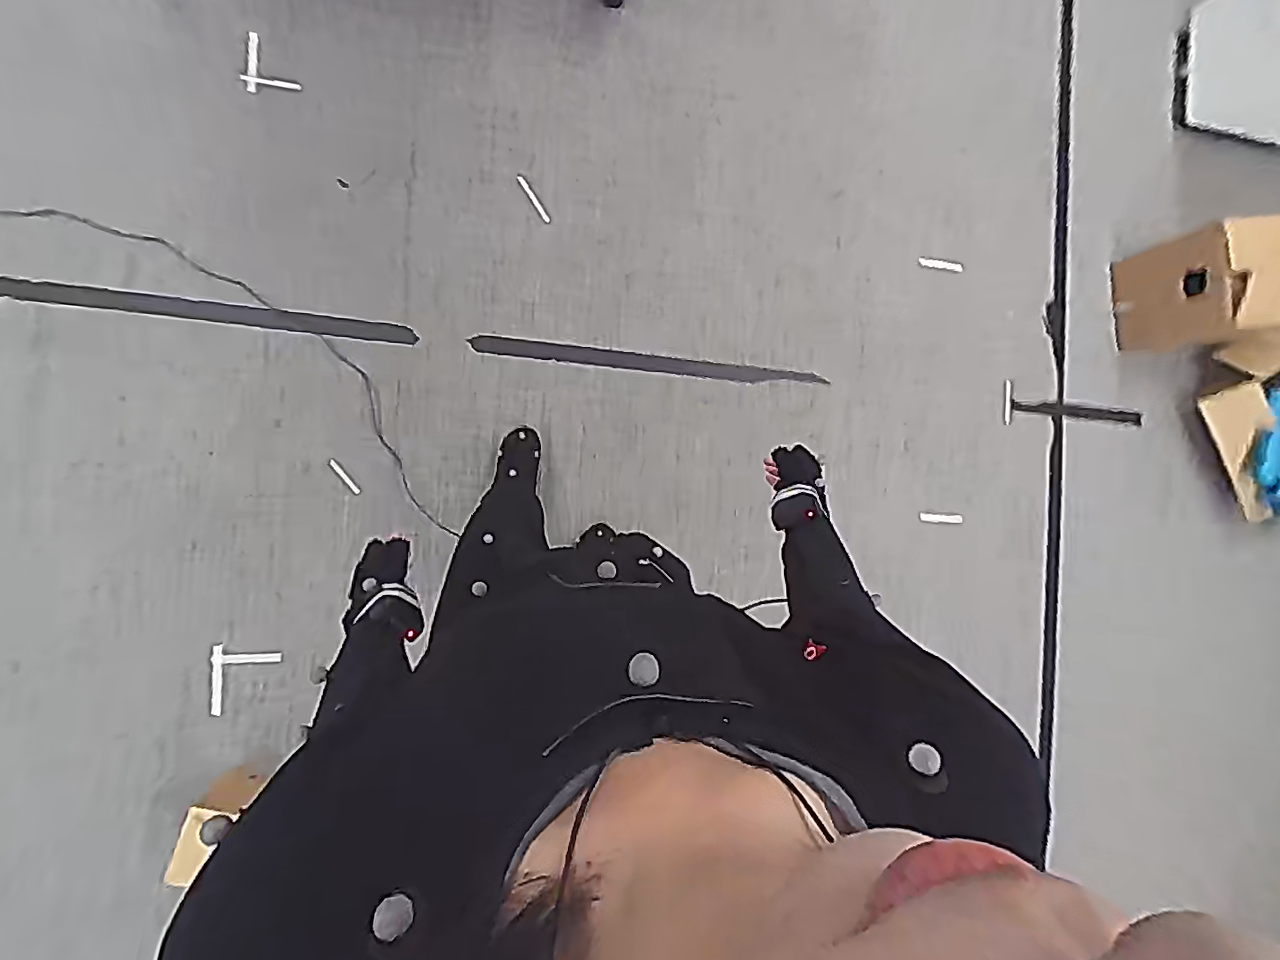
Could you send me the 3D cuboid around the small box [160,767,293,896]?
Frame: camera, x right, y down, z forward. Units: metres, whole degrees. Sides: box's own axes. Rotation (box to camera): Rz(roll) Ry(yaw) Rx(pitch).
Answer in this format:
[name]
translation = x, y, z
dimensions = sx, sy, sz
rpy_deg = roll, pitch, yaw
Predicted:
[small box]
translation = -0.958, 0.817, 1.271
dimensions = 0.168, 0.176, 0.179
rpy_deg = 19, 86, -10
